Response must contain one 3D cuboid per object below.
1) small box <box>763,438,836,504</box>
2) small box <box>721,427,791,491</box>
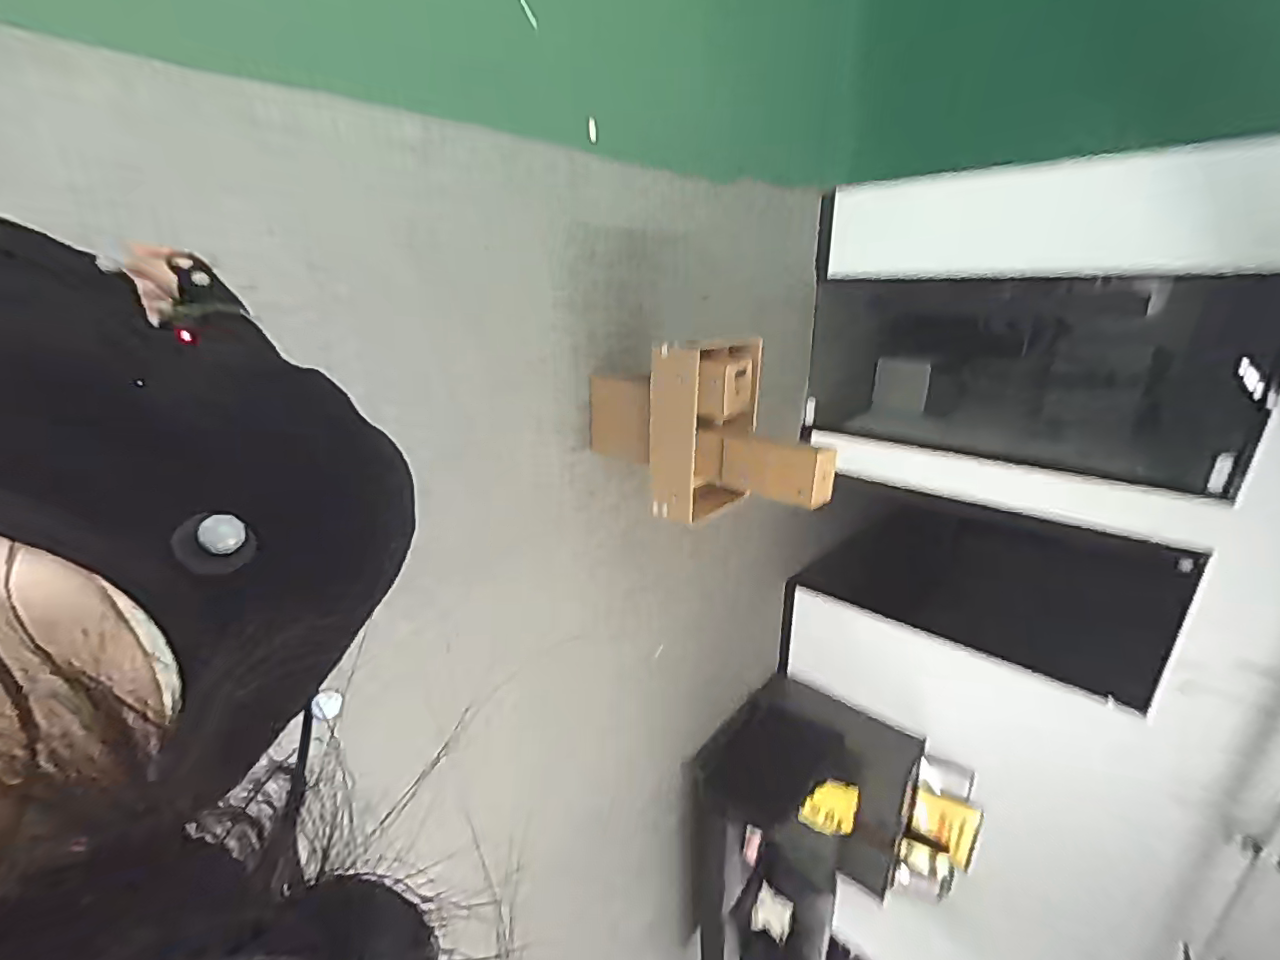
[{"bbox_3d":[0.514,-0.037,1.753,0.168,0.176,0.179,-14,114,-48],"label":"small box"},{"bbox_3d":[0.393,-0.077,1.852,0.168,0.176,0.179,-15,114,-47],"label":"small box"}]
